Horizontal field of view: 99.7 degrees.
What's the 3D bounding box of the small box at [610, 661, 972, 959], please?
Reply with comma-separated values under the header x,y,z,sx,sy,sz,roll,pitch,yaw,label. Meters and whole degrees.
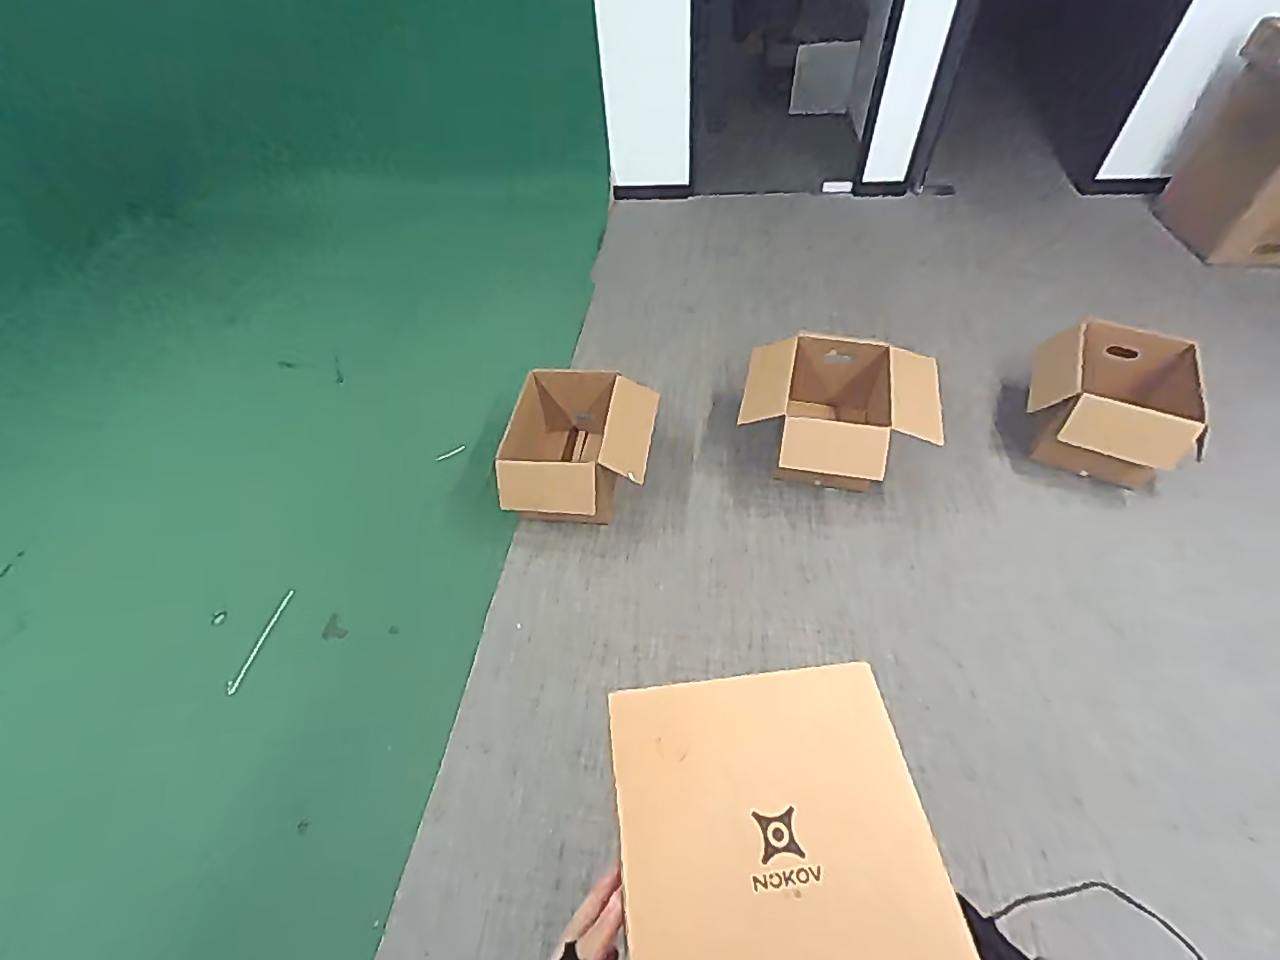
x,y,z,sx,sy,sz,roll,pitch,yaw,label
0.068,0.238,0.351,0.168,0.176,0.179,-5,54,-6,small box
